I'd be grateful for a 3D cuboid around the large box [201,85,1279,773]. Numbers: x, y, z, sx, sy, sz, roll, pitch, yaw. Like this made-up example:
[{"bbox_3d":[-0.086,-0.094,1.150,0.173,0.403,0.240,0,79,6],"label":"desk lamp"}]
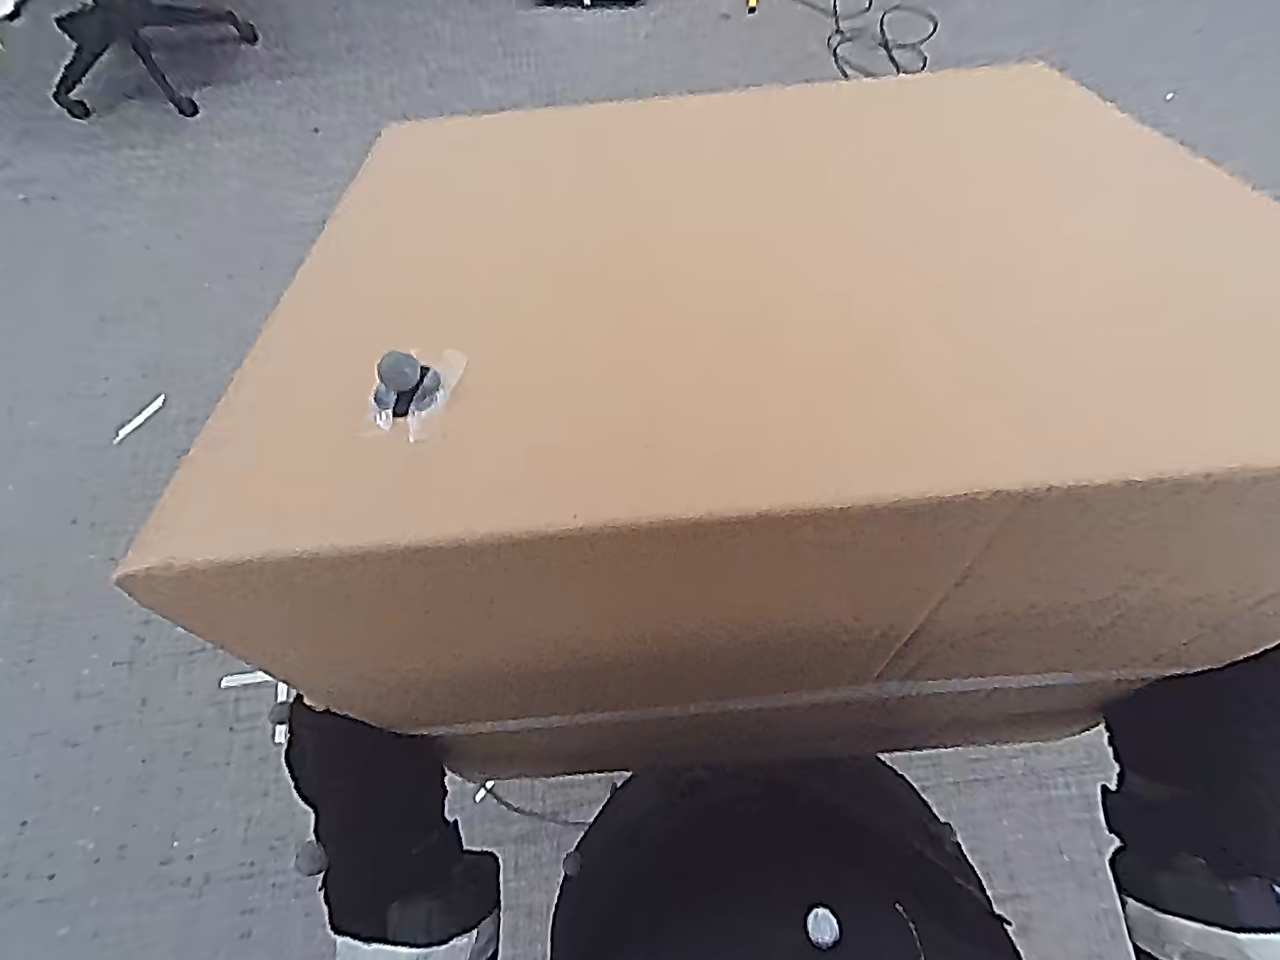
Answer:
[{"bbox_3d":[0.066,-0.019,0.361,0.408,0.320,0.320,-5,52,1],"label":"large box"}]
